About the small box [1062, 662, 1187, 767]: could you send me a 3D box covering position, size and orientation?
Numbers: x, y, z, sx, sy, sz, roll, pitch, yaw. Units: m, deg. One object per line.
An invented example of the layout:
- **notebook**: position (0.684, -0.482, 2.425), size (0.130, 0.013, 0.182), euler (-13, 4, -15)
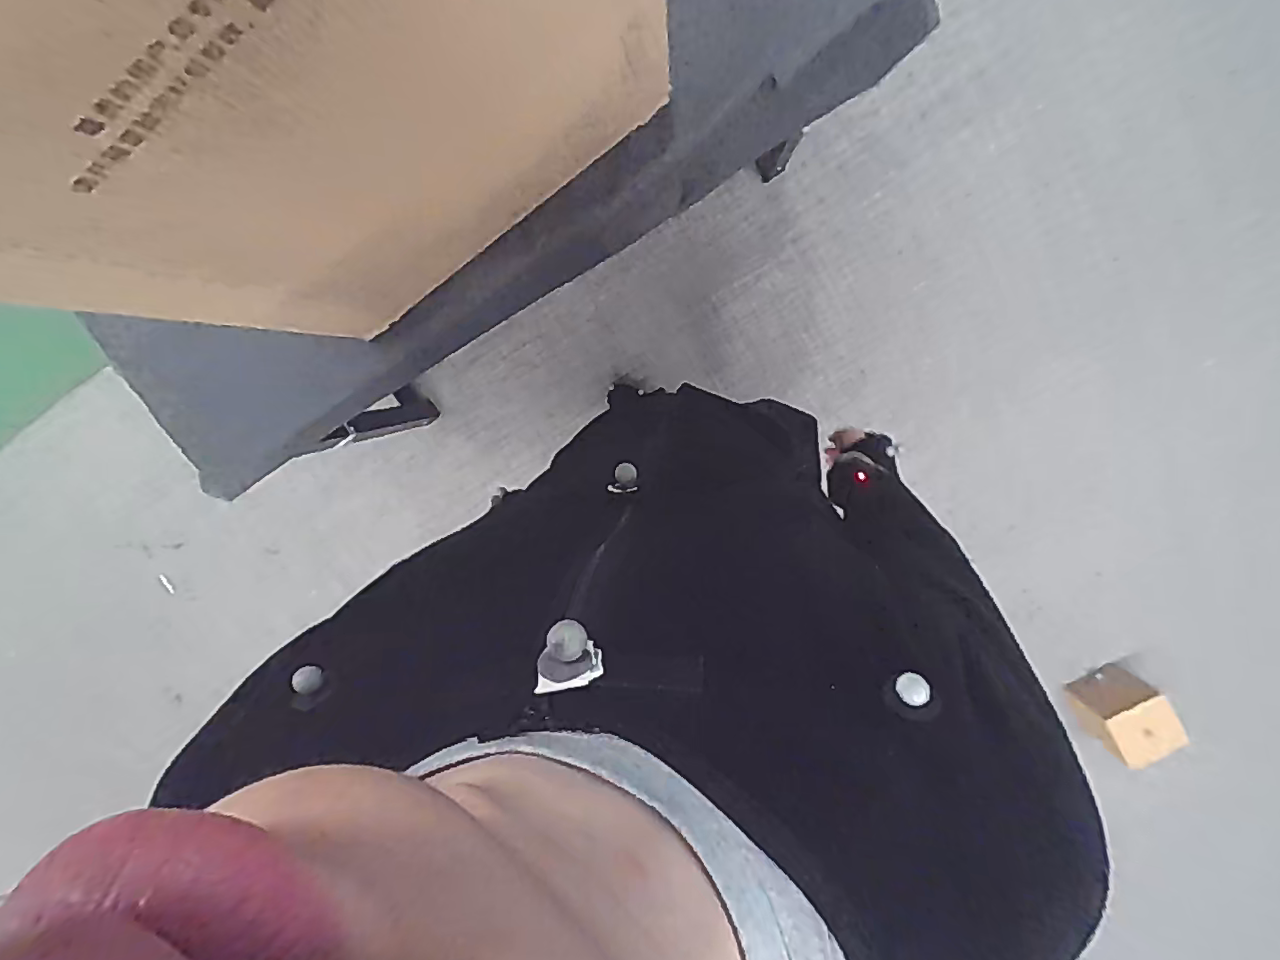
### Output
- **small box**: position (1.357, 0.655, 1.527), size (0.168, 0.176, 0.179), euler (-33, 97, 8)
